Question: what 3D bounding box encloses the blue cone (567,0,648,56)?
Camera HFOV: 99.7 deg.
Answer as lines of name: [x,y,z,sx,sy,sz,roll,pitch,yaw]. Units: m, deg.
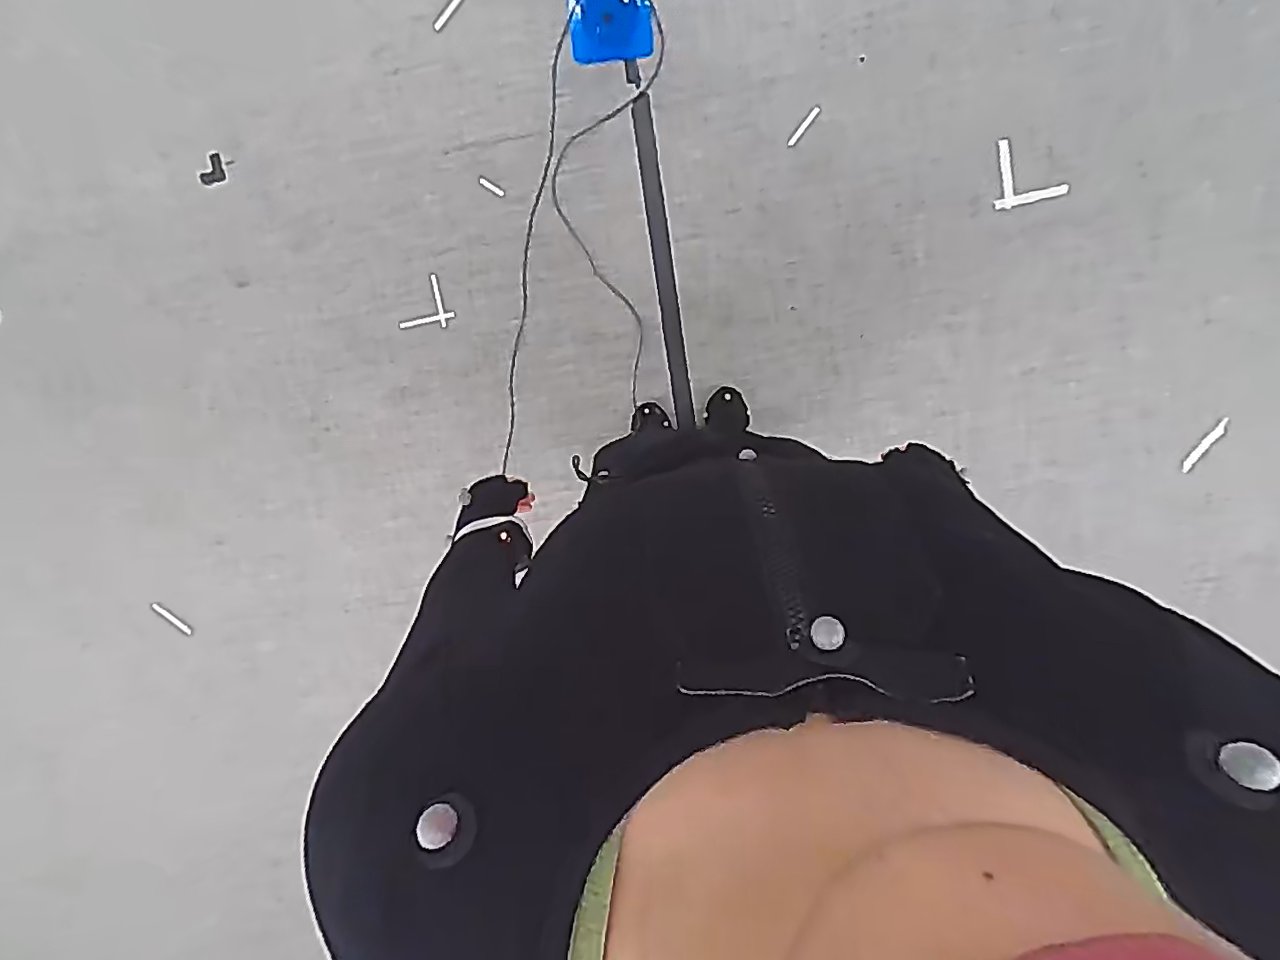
blue cone: [-0.087,-1.087,1.118,0.193,0.380,0.192,-6,100,4]
